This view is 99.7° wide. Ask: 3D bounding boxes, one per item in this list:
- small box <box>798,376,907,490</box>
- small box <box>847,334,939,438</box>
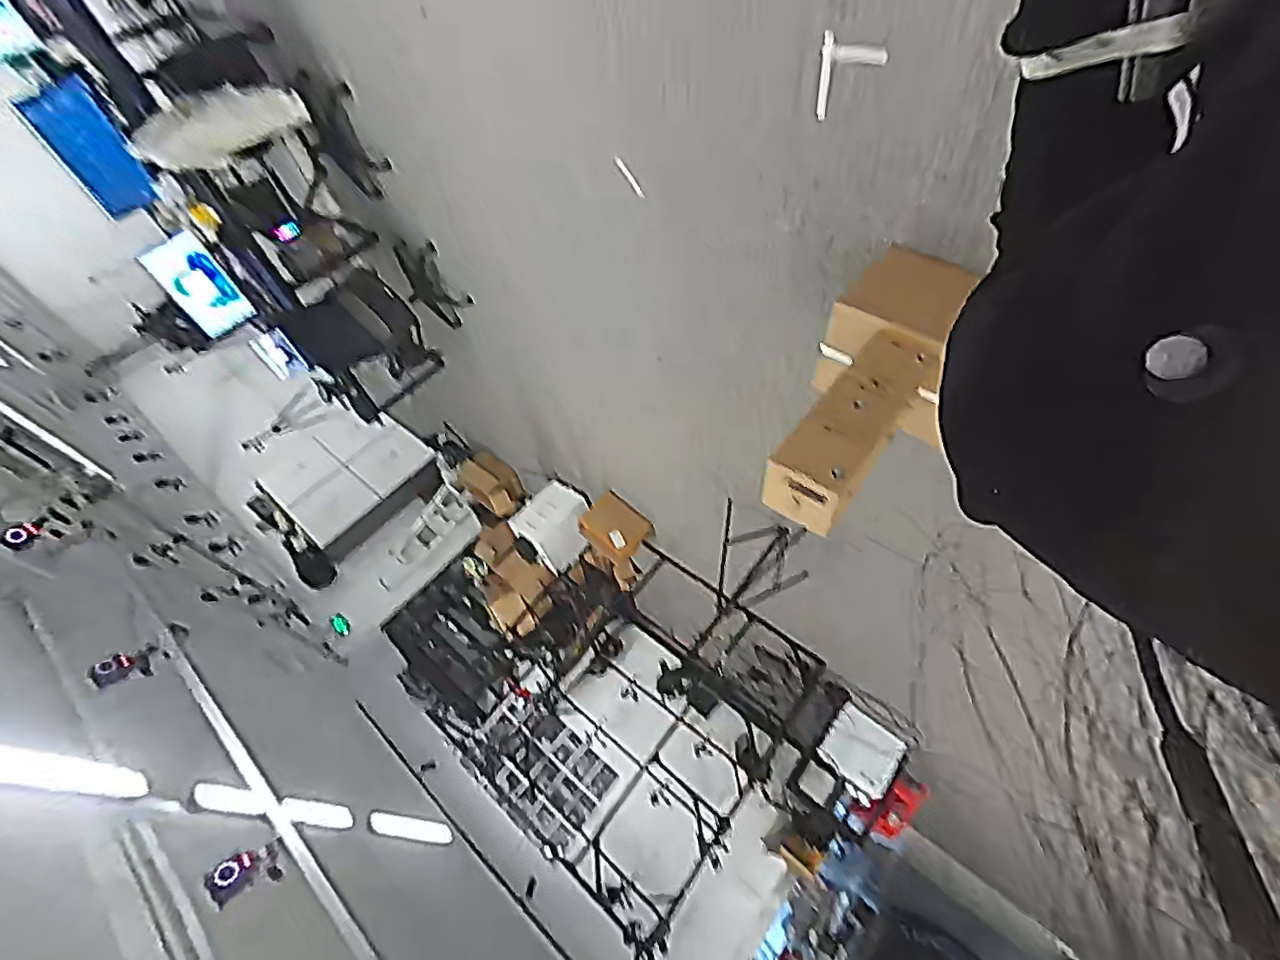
[{"bbox_3d":[0.508,-0.118,1.293,0.168,0.176,0.179,34,154,24],"label":"small box"},{"bbox_3d":[0.612,-0.232,1.349,0.168,0.176,0.179,34,156,21],"label":"small box"}]
